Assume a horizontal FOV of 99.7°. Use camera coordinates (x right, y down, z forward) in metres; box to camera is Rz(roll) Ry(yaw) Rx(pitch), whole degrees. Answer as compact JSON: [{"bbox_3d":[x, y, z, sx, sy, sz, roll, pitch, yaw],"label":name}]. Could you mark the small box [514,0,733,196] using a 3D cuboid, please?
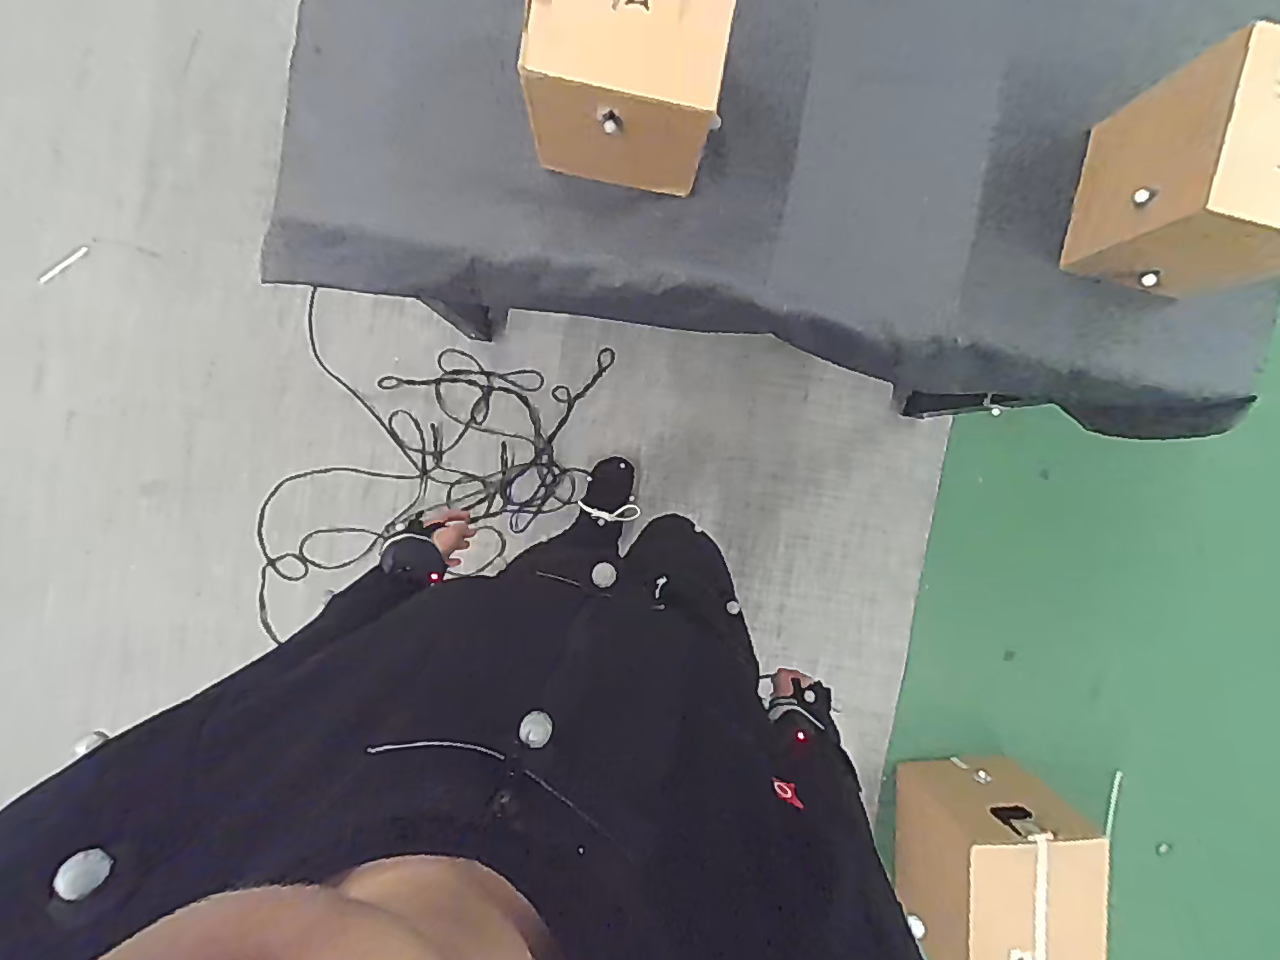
[{"bbox_3d":[-0.013,-0.414,0.539,0.179,0.176,0.168,10,93,-5],"label":"small box"}]
